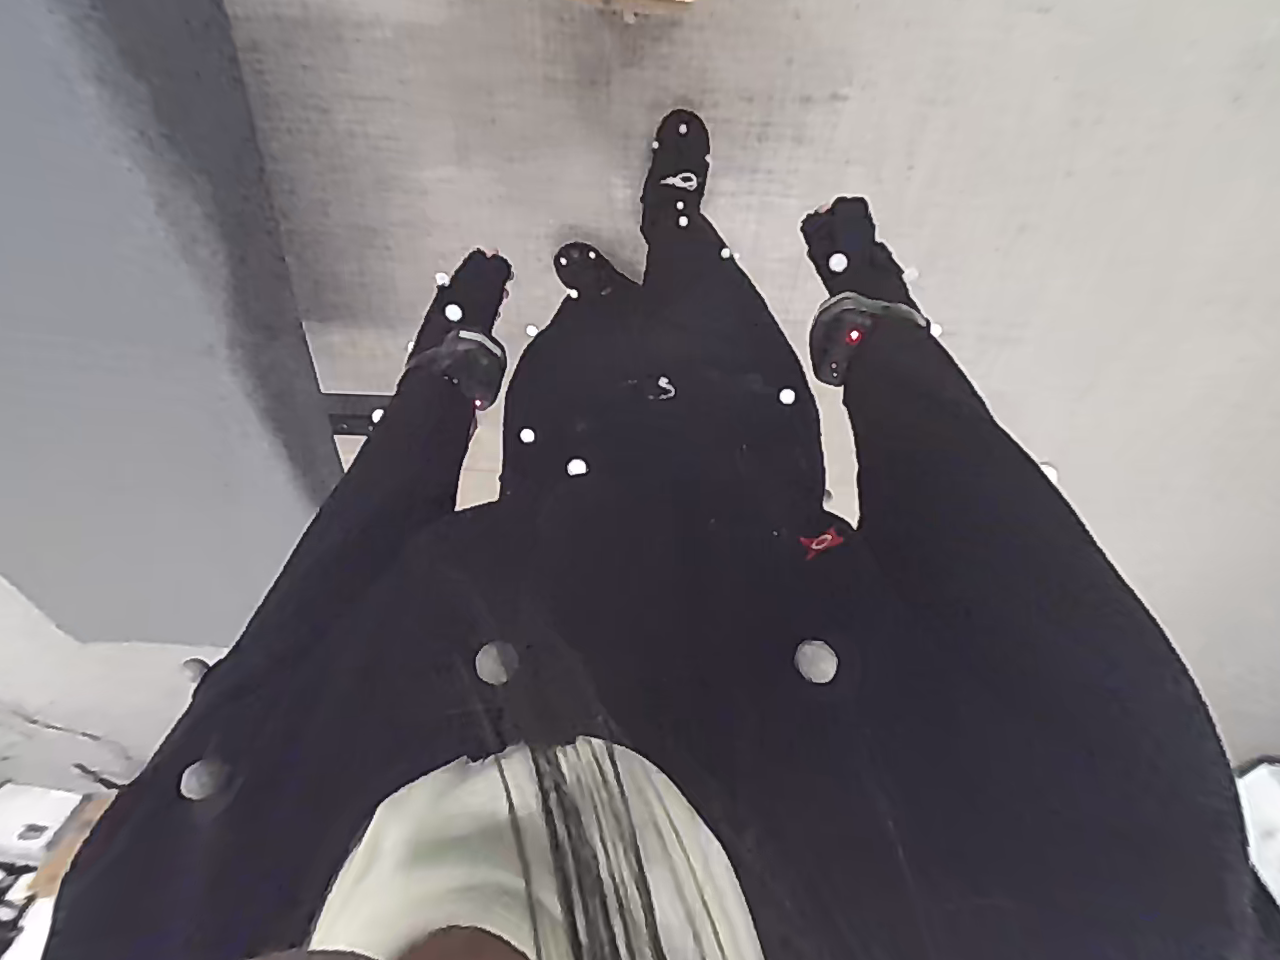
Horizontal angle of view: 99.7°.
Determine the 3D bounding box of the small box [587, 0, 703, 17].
[{"bbox_3d":[-0.005,-0.631,0.596,0.179,0.176,0.168,10,130,0],"label":"small box"}]
